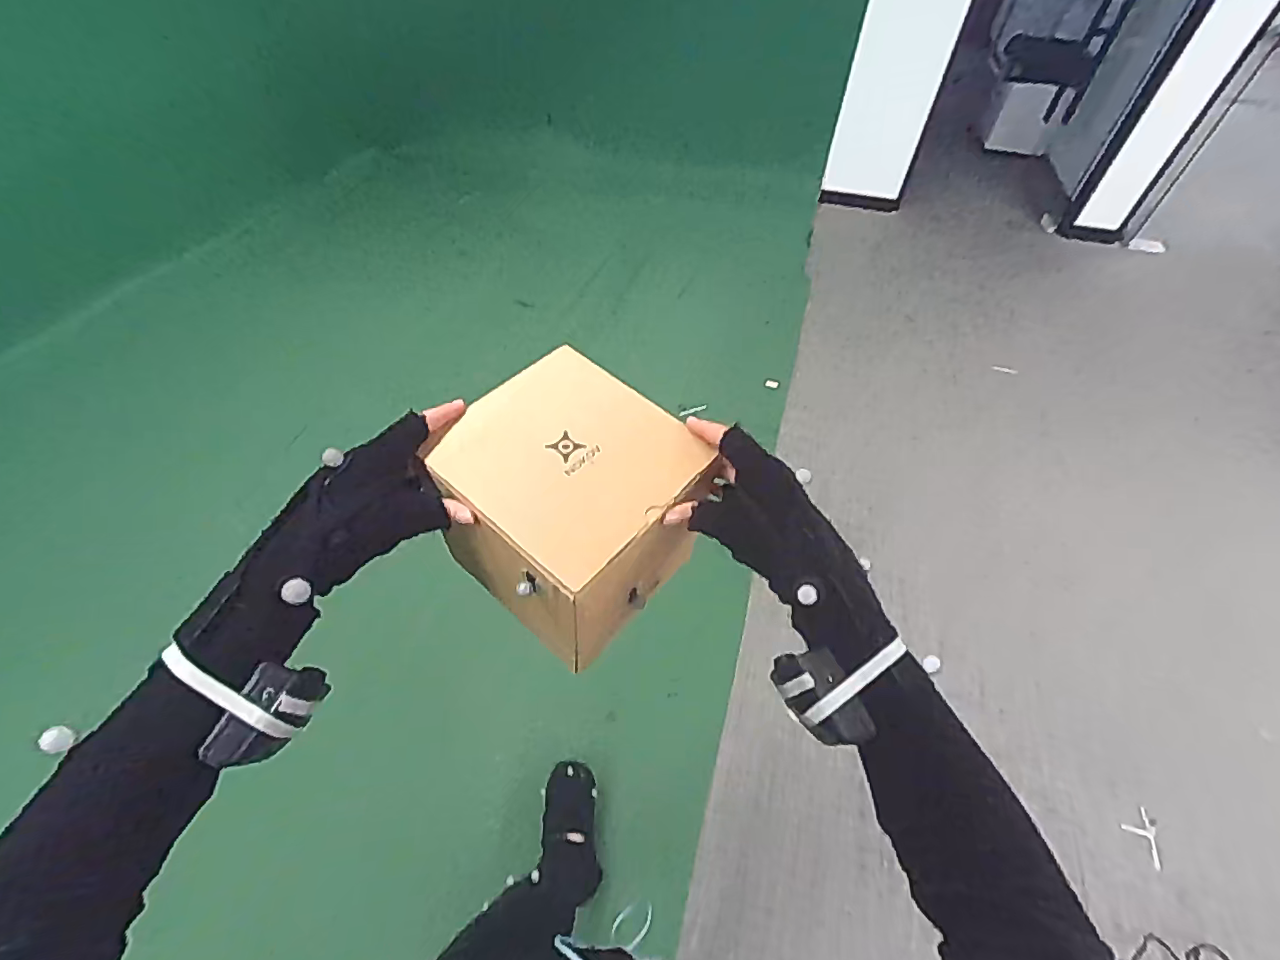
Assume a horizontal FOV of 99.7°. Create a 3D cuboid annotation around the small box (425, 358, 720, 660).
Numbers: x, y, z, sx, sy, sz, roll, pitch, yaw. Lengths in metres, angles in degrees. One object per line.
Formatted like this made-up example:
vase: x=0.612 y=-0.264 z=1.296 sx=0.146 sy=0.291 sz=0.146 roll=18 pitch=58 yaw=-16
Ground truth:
small box: x=-0.060 y=0.029 z=0.489 sx=0.179 sy=0.176 sz=0.168 roll=38 pitch=58 yaw=19
